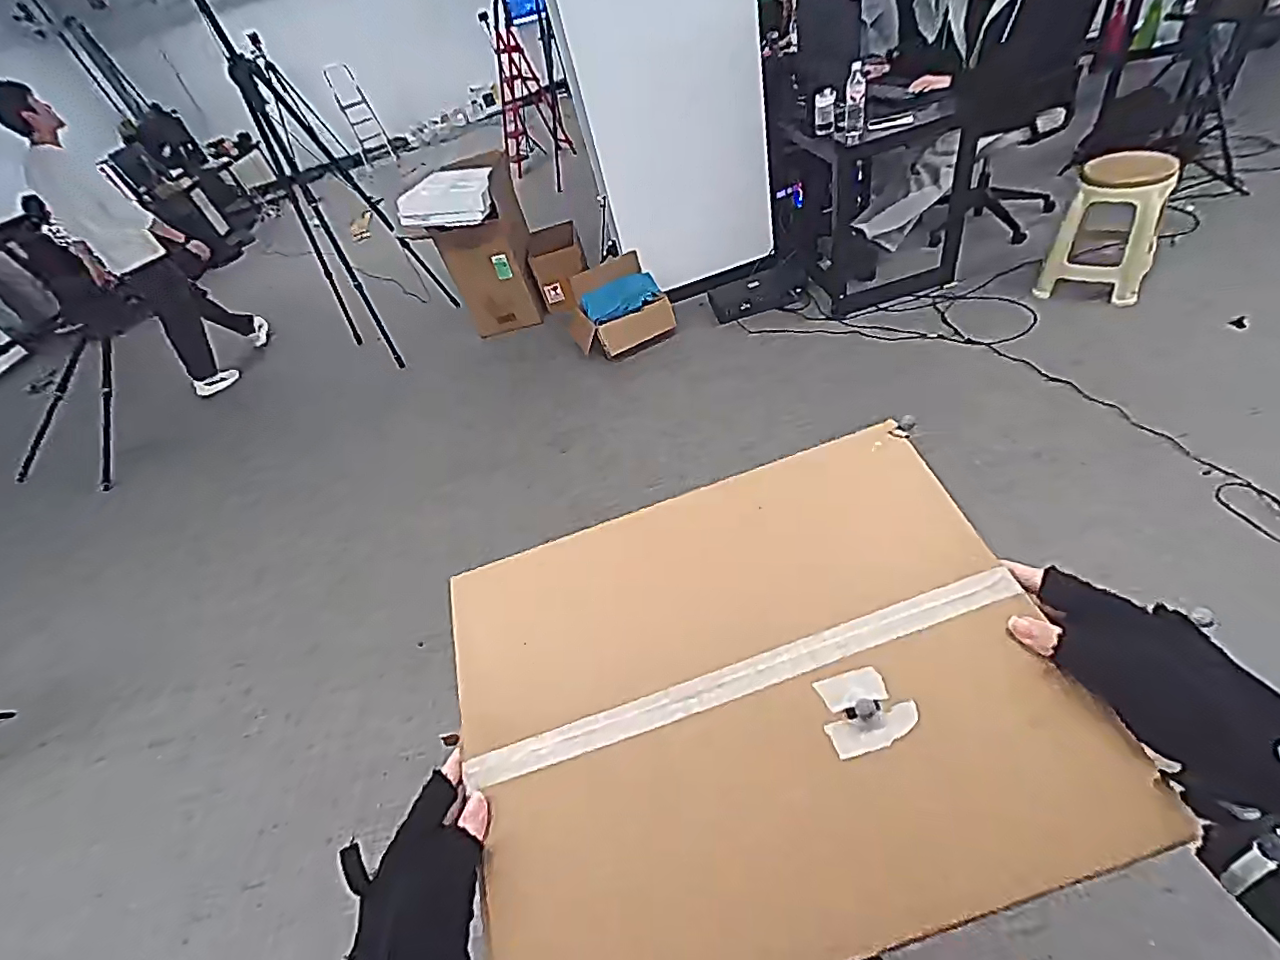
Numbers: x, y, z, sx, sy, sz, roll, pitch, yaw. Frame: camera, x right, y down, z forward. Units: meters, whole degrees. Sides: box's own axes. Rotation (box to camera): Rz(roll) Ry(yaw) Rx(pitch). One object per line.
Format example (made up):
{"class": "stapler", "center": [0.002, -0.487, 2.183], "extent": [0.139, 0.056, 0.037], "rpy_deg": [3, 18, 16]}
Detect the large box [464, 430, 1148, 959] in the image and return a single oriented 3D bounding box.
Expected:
{"class": "large box", "center": [0.098, 0.219, 0.520], "extent": [0.408, 0.320, 0.320], "rpy_deg": [-20, 57, -1]}
